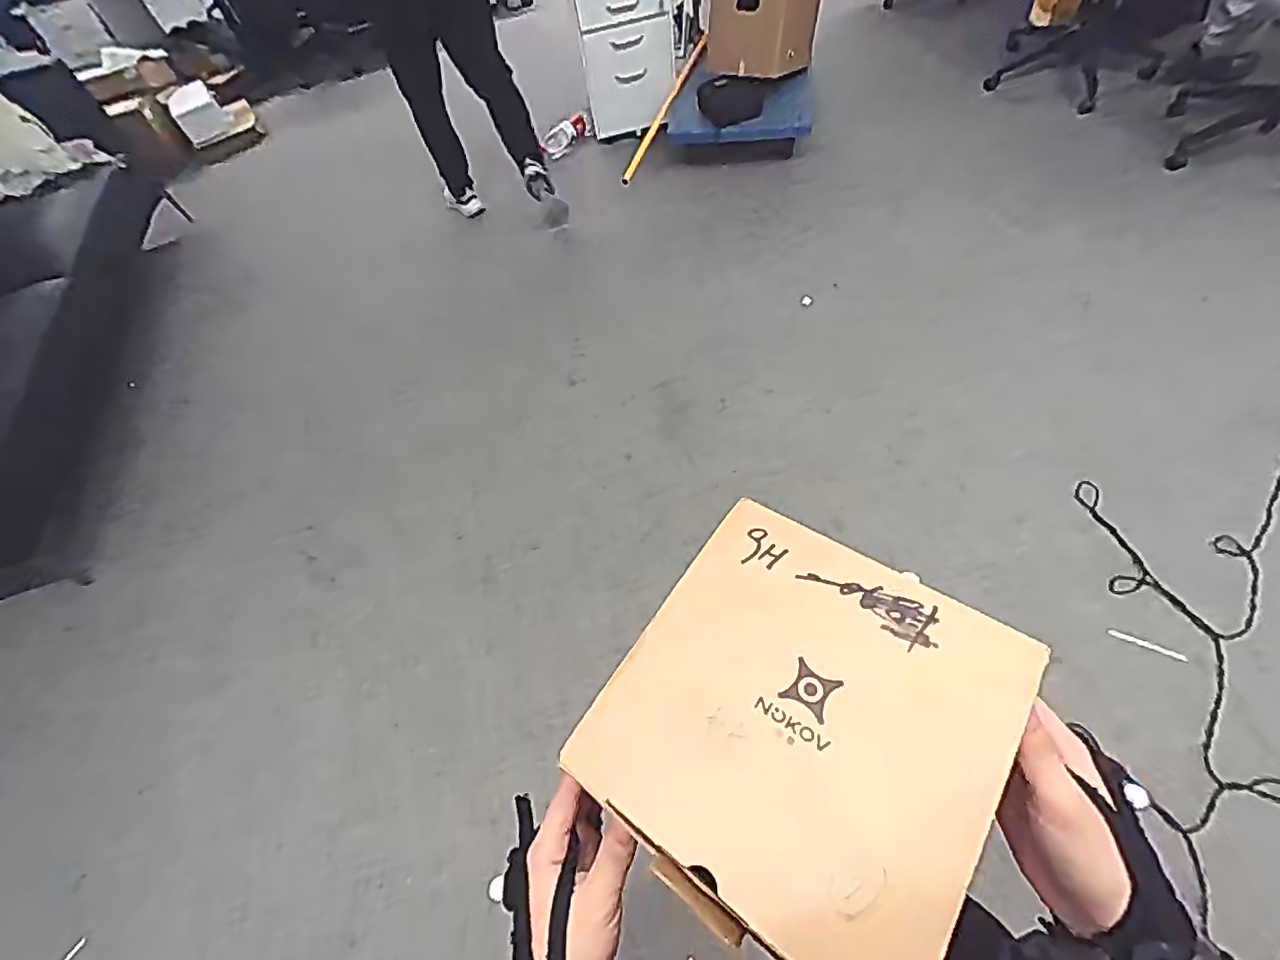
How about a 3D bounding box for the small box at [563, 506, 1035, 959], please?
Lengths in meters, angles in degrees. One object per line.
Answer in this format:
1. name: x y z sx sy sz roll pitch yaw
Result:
1. small box: 0.088 0.154 0.325 0.168 0.176 0.179 28 65 26
